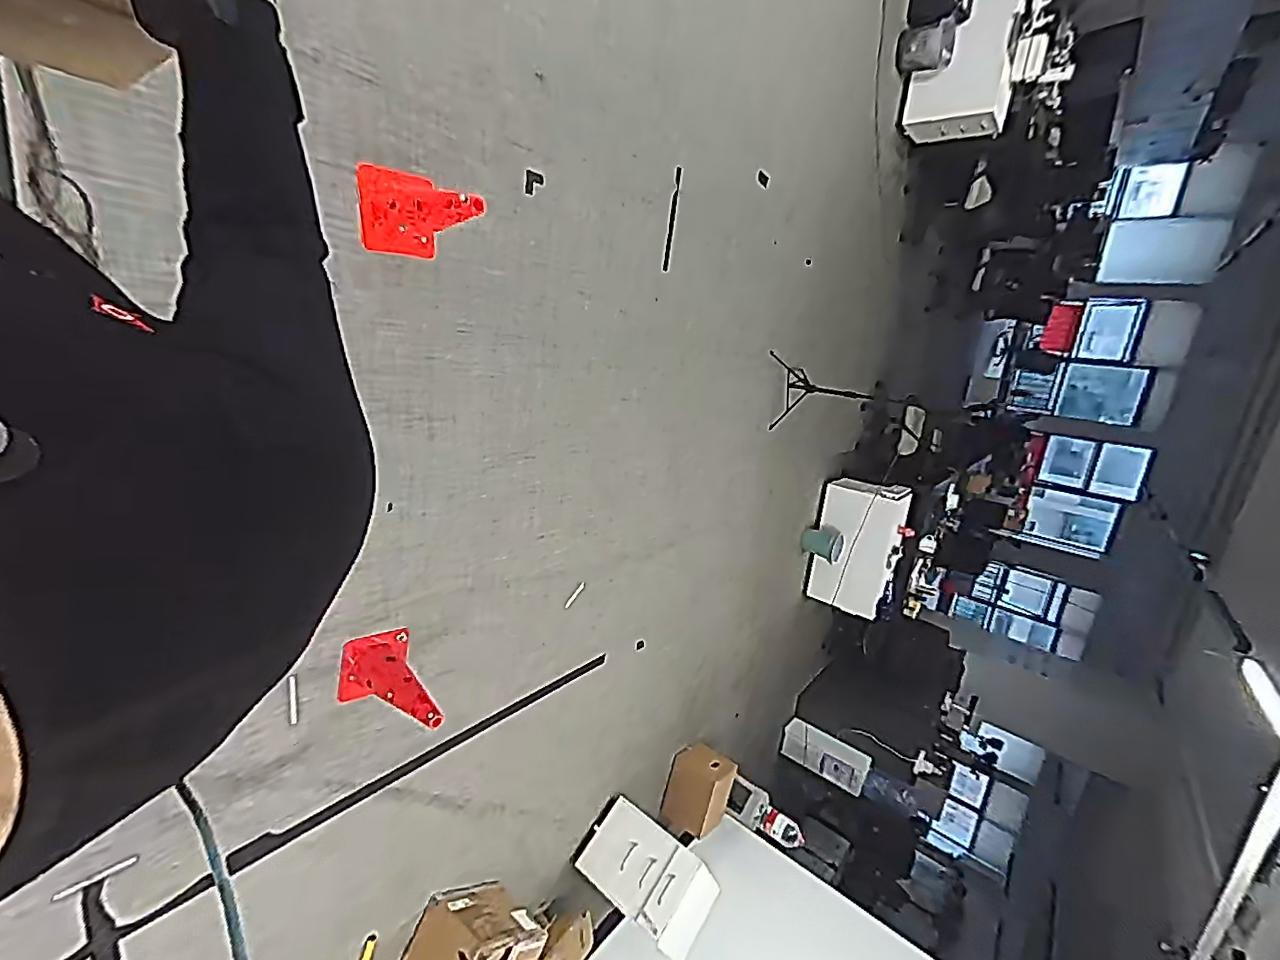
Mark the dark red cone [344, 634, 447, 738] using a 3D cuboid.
[{"bbox_3d":[-0.667,0.611,1.539,0.201,0.394,0.202,-1,105,-51],"label":"dark red cone"}]

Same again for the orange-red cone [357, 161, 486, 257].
[{"bbox_3d":[-0.493,-0.654,1.293,0.198,0.360,0.199,-15,114,-50],"label":"orange-red cone"}]

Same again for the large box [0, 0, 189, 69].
[{"bbox_3d":[-0.541,-0.490,0.281,0.408,0.320,0.320,-12,118,-49],"label":"large box"}]
